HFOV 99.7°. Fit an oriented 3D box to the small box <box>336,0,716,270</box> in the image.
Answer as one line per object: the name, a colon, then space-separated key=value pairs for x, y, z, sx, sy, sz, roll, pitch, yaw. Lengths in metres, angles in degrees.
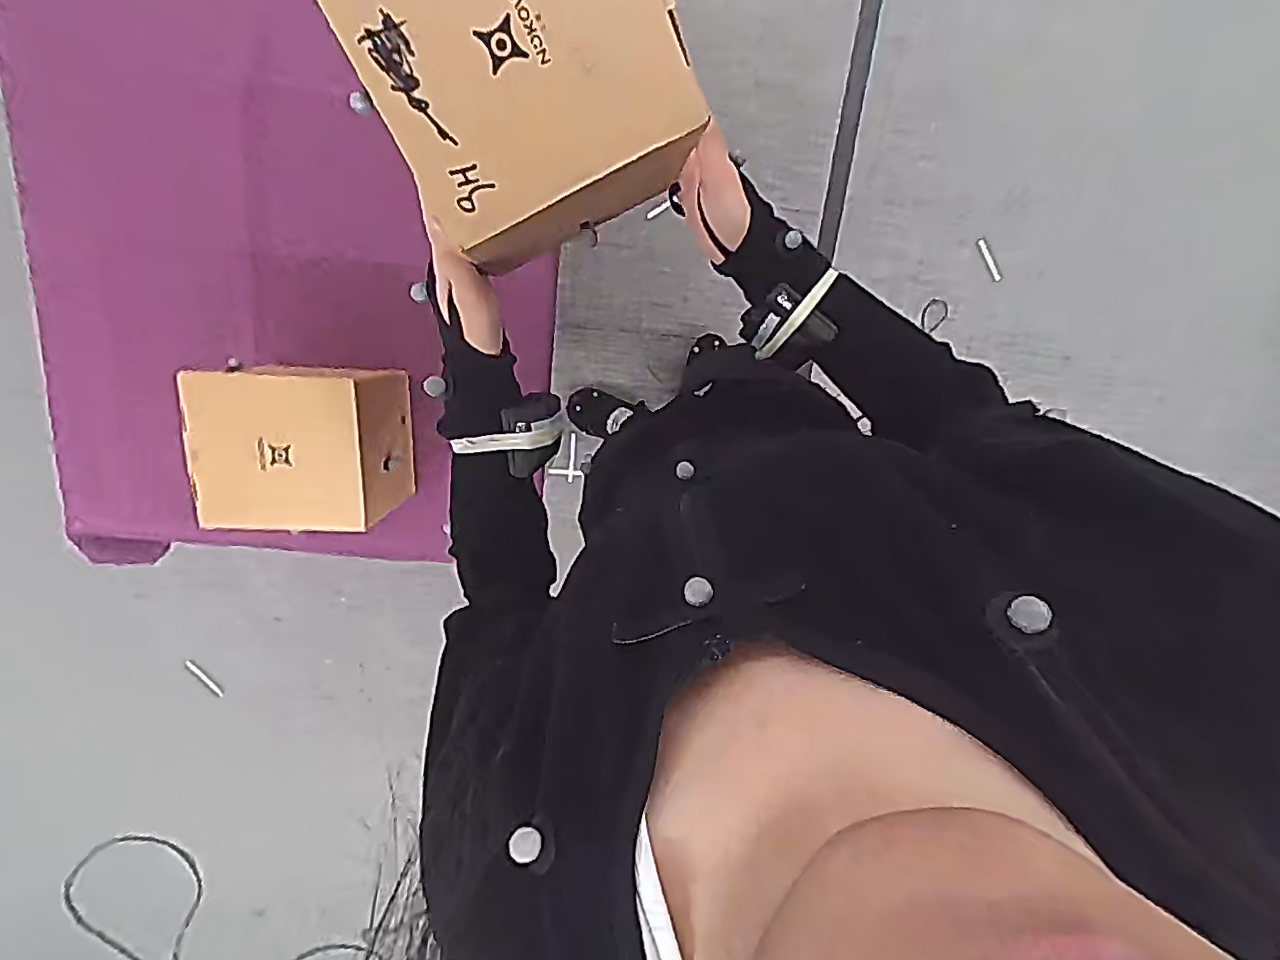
small box: x=-0.074 y=-0.269 z=0.379 sx=0.179 sy=0.176 sz=0.168 roll=-27 pitch=106 yaw=0

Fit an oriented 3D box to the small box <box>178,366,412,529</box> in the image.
small box: x=-0.385 y=-0.047 z=0.644 sx=0.179 sy=0.176 sz=0.168 roll=1 pitch=104 yaw=-3
